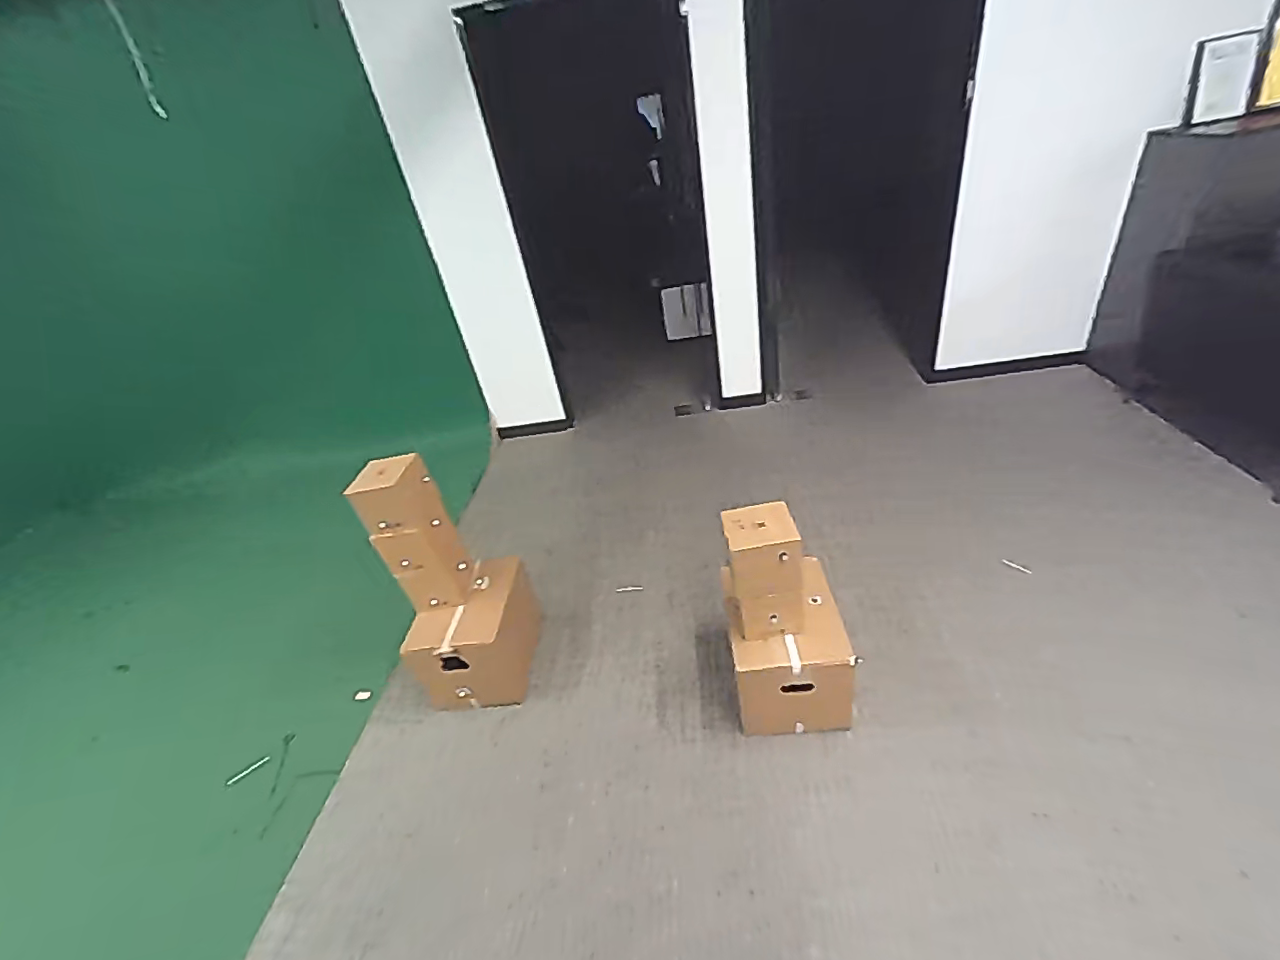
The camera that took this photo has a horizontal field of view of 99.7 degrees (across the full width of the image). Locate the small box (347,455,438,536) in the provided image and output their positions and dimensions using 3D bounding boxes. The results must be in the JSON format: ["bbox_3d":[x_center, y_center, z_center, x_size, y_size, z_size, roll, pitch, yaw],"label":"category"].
[{"bbox_3d":[-0.747,0.048,1.660,0.168,0.176,0.179,-10,35,10],"label":"small box"}]

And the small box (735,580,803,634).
[{"bbox_3d":[0.353,0.313,1.512,0.168,0.176,0.179,-11,34,5],"label":"small box"}]

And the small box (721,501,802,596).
[{"bbox_3d":[0.318,0.180,1.418,0.179,0.176,0.168,-11,33,5],"label":"small box"}]

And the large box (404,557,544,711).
[{"bbox_3d":[-0.558,0.537,1.909,0.320,0.320,0.408,-8,33,7],"label":"large box"}]

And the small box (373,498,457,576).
[{"bbox_3d":[-0.715,0.184,1.744,0.168,0.176,0.179,-11,34,8],"label":"small box"}]
